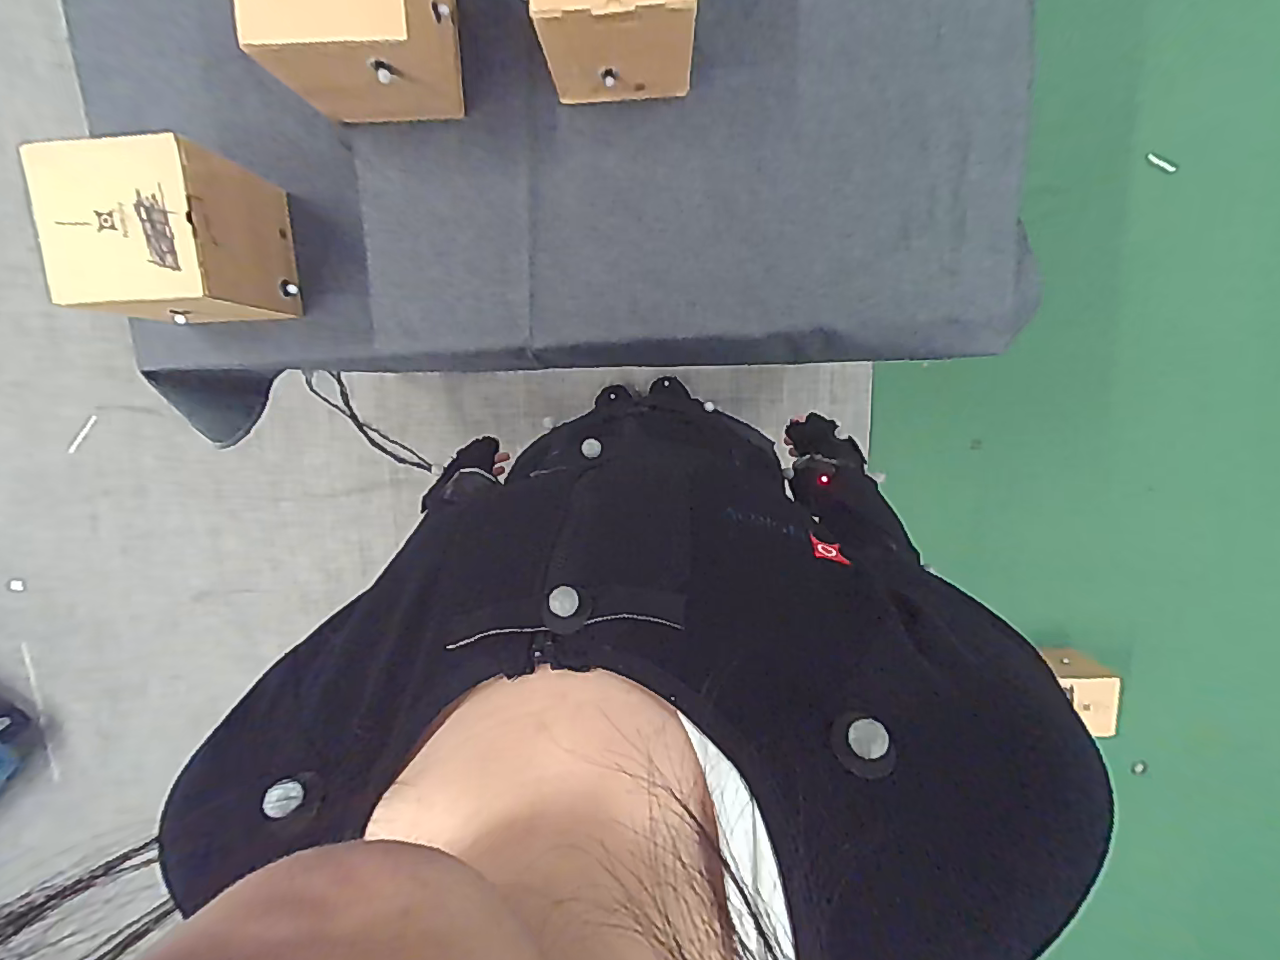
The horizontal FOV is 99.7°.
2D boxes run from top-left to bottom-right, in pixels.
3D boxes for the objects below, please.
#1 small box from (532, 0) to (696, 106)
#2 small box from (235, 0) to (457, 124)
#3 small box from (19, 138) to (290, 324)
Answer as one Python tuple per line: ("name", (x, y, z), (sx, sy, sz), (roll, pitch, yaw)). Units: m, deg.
("small box", (-0.028, -0.556, 0.601), (0.168, 0.176, 0.179), (-2, 100, 1))
("small box", (-0.316, -0.528, 0.608), (0.179, 0.176, 0.168), (-1, 100, 1))
("small box", (-0.558, -0.286, 0.654), (0.179, 0.176, 0.168), (-2, 99, 2))
